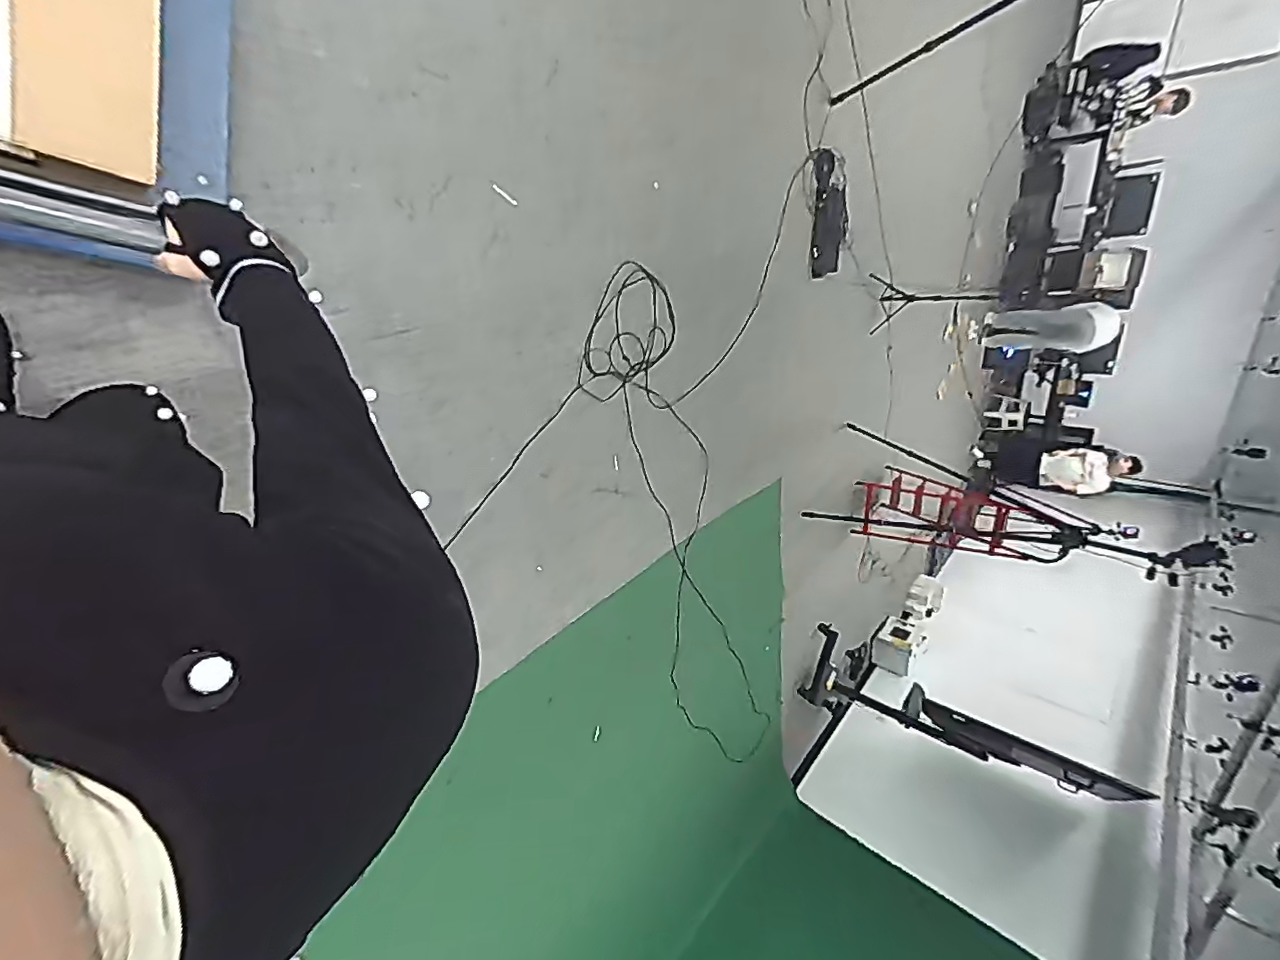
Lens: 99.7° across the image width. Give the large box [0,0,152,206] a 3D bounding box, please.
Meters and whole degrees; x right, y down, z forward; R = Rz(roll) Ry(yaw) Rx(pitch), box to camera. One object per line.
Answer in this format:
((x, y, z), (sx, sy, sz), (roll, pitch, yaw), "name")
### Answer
((-0.930, -0.671, 0.778), (0.320, 0.320, 0.408), (-1, 102, -48), "large box")
